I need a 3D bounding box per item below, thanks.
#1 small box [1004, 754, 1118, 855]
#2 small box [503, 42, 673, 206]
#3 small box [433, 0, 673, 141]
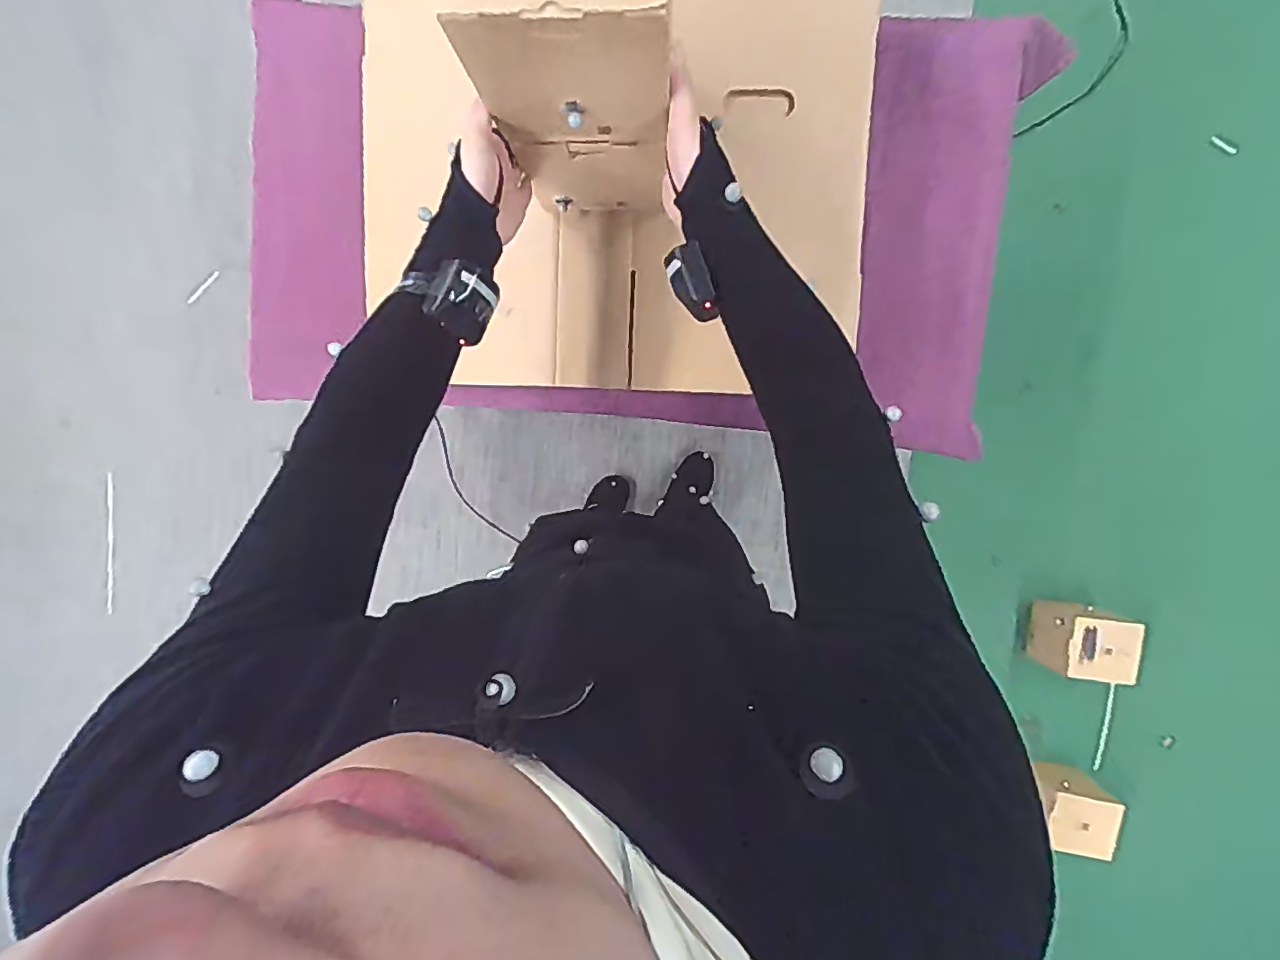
[{"bbox_3d":[1.186,0.913,1.537,0.179,0.176,0.168,9,96,4],"label":"small box"},{"bbox_3d":[-0.048,-0.426,0.605,0.168,0.176,0.179,1,95,2],"label":"small box"},{"bbox_3d":[-0.056,-0.413,0.441,0.168,0.176,0.179,1,96,3],"label":"small box"}]
